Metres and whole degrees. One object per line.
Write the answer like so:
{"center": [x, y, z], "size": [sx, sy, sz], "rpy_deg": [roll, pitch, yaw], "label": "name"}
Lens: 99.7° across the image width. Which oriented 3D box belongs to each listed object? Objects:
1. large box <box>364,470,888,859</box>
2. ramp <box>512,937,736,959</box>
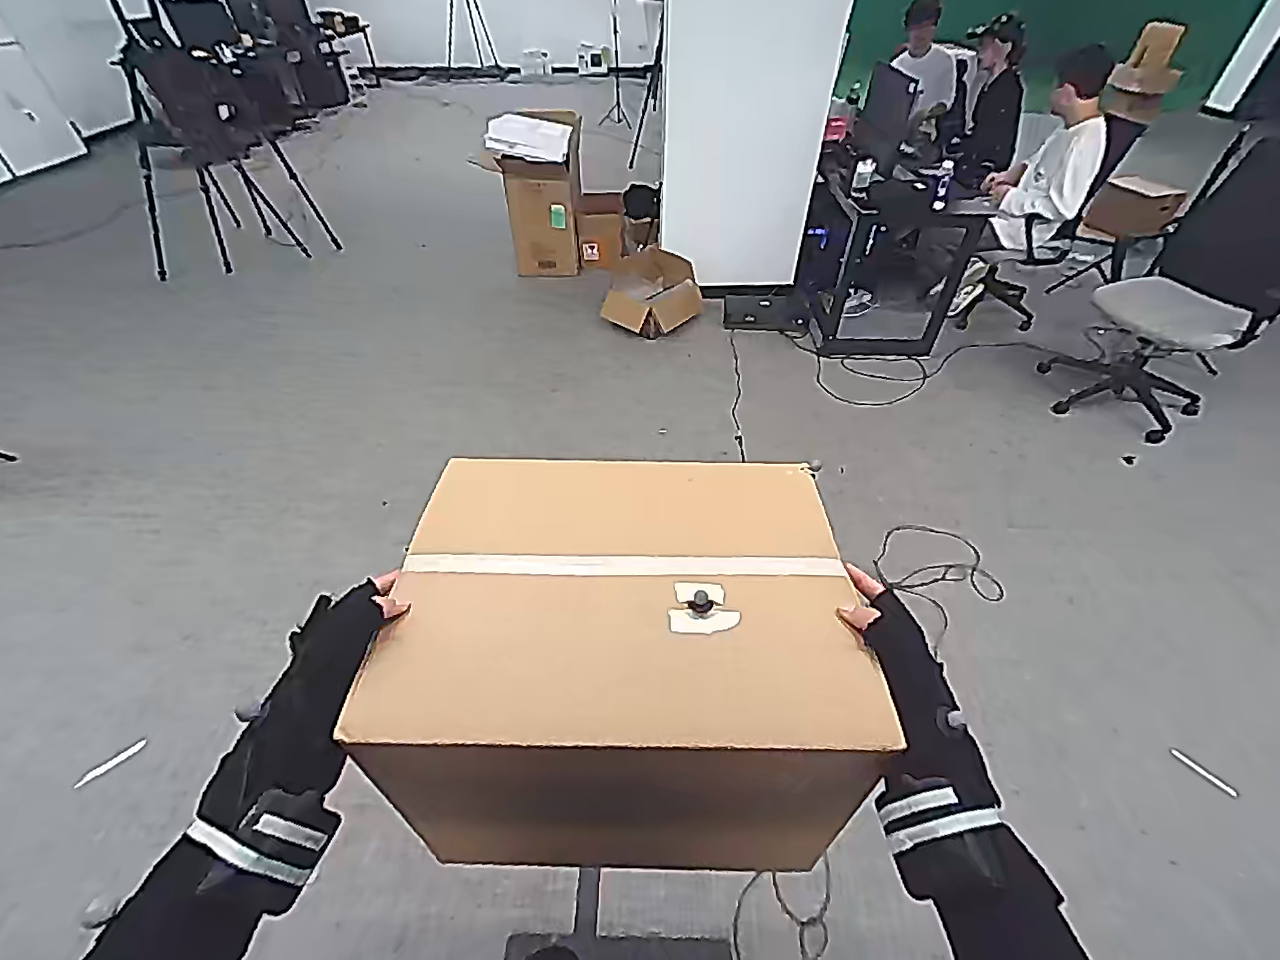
{"center": [-0.013, 0.203, 0.611], "size": [0.408, 0.320, 0.320], "rpy_deg": [1, 41, 0], "label": "large box"}
{"center": [-0.046, 1.296, 0.785], "size": [0.509, 0.206, 0.991], "rpy_deg": [-2, 44, 1], "label": "ramp"}
